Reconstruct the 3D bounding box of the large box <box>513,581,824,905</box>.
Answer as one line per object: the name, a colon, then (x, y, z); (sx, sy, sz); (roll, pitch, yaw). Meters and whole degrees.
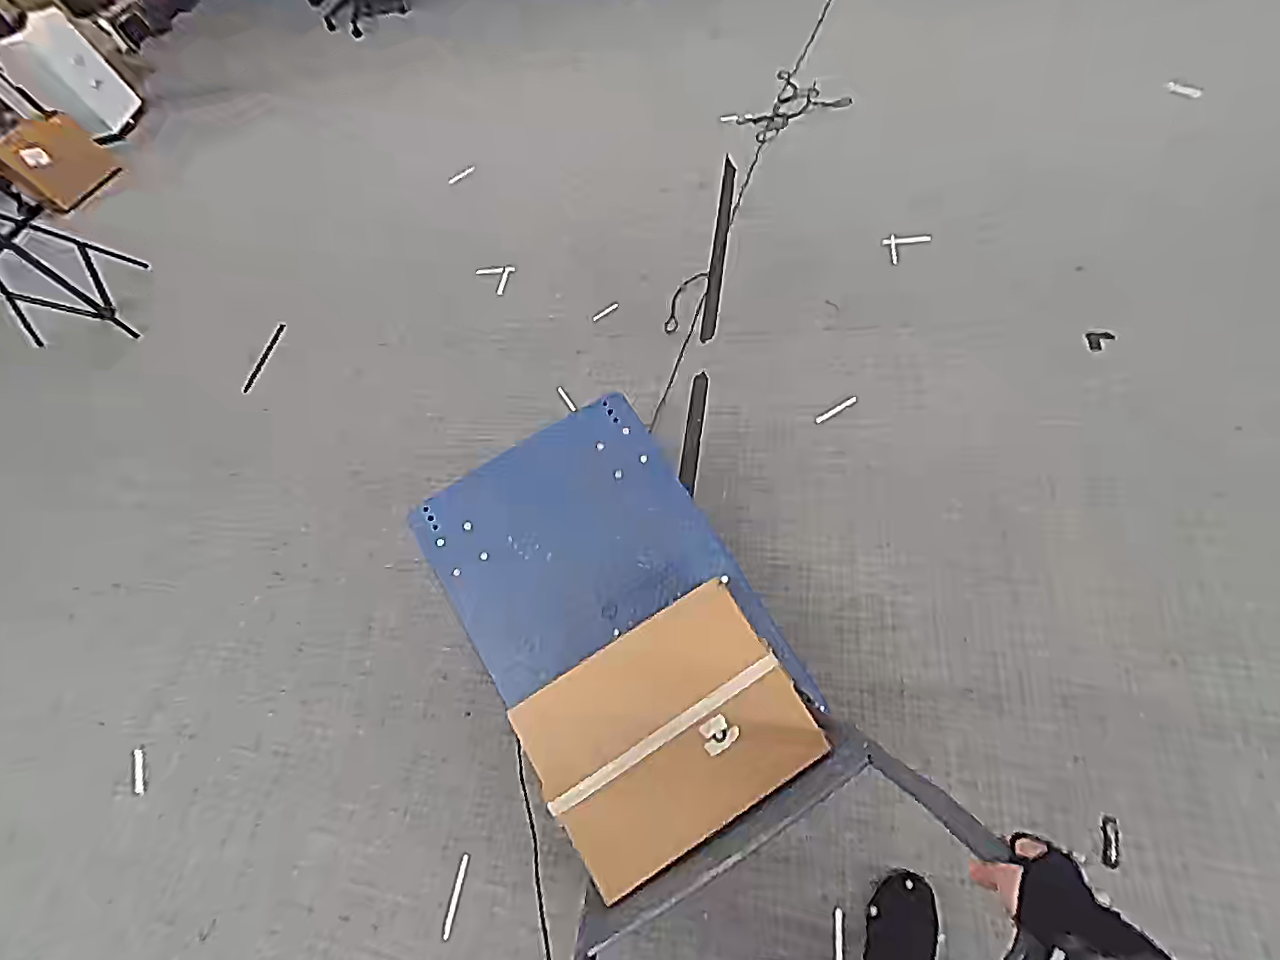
large box: (0.043, 0.434, 0.987); (0.408, 0.320, 0.320); (-32, 78, -7)
